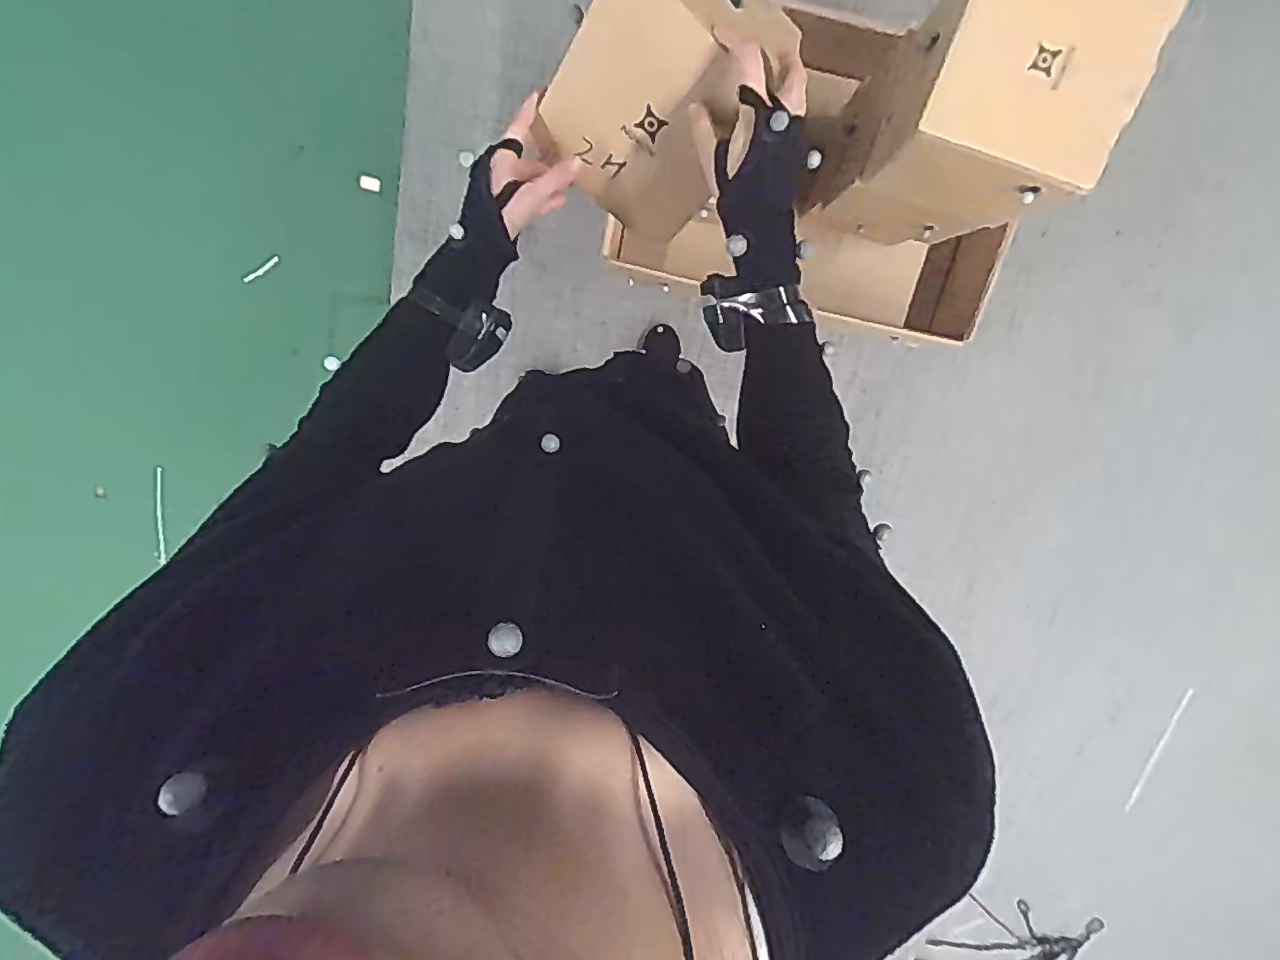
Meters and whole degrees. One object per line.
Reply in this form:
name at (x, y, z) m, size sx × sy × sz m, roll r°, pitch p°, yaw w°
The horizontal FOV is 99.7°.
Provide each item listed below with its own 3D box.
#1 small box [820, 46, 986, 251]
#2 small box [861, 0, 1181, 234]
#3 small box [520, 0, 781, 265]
small box at (0.364, -0.412, 0.710) m, size 0.179 × 0.176 × 0.168 m, roll 17°, pitch 105°, yaw 0°
small box at (0.358, -0.370, 0.553) m, size 0.179 × 0.176 × 0.168 m, roll 18°, pitch 105°, yaw -2°
small box at (0.016, -0.355, 0.510) m, size 0.168 × 0.176 × 0.179 m, roll 31°, pitch 146°, yaw -23°
